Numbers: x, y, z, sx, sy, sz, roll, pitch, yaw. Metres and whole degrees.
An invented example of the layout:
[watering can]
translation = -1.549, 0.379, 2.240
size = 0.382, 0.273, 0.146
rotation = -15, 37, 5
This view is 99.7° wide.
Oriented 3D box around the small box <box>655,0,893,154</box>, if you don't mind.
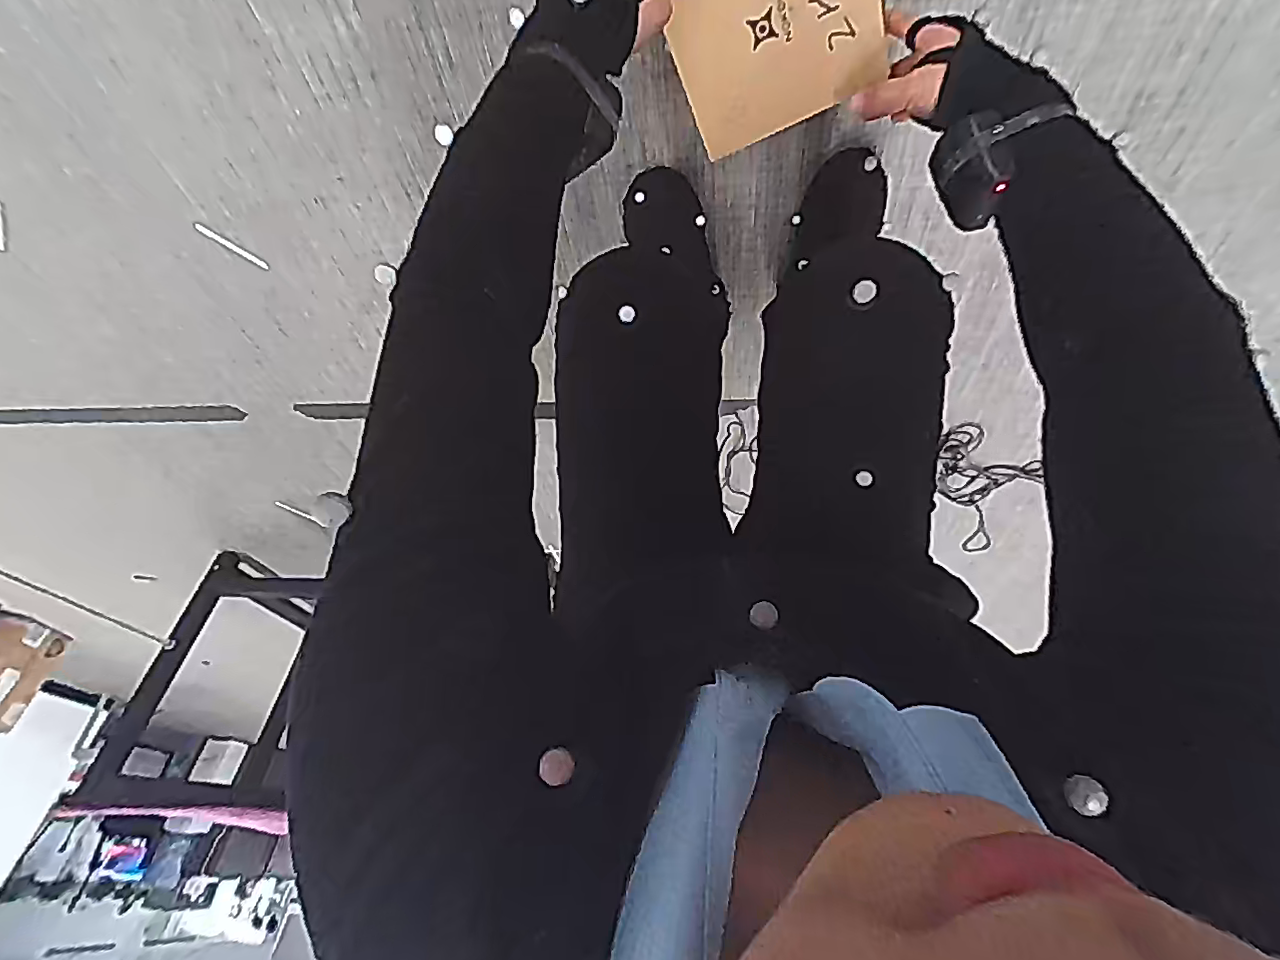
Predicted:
[small box]
translation = 0.120, -0.456, 0.508
size = 0.179, 0.176, 0.168
rotation = -15, 139, 23
